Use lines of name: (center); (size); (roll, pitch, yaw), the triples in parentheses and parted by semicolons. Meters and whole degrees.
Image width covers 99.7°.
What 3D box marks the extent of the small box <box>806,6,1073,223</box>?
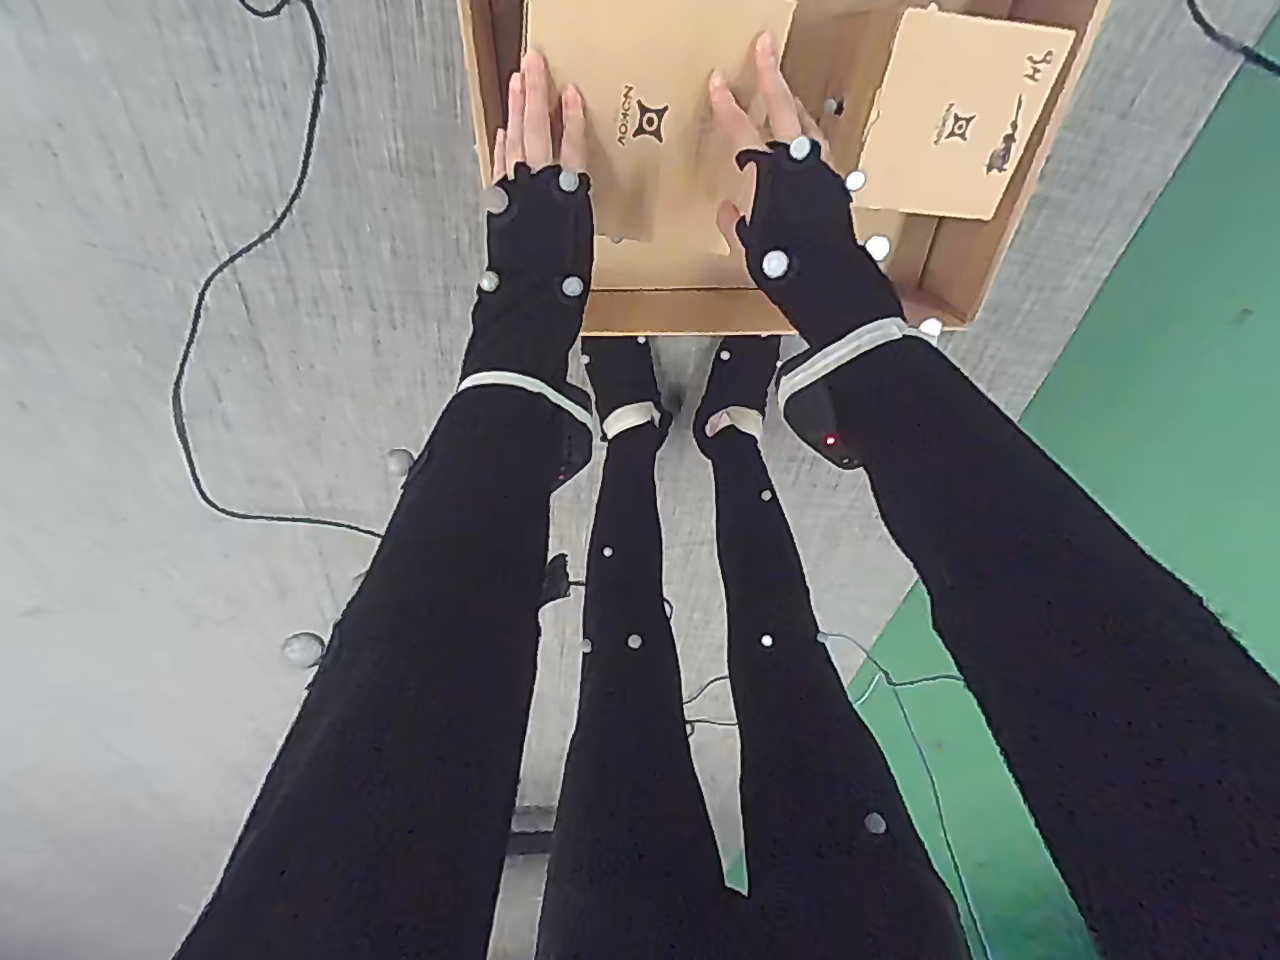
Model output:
small box: (0.309, -0.406, 0.609); (0.179, 0.176, 0.168); (3, 128, -7)

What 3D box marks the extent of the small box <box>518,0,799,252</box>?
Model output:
small box: (-0.002, -0.311, 0.448); (0.179, 0.176, 0.168); (5, 129, -12)
